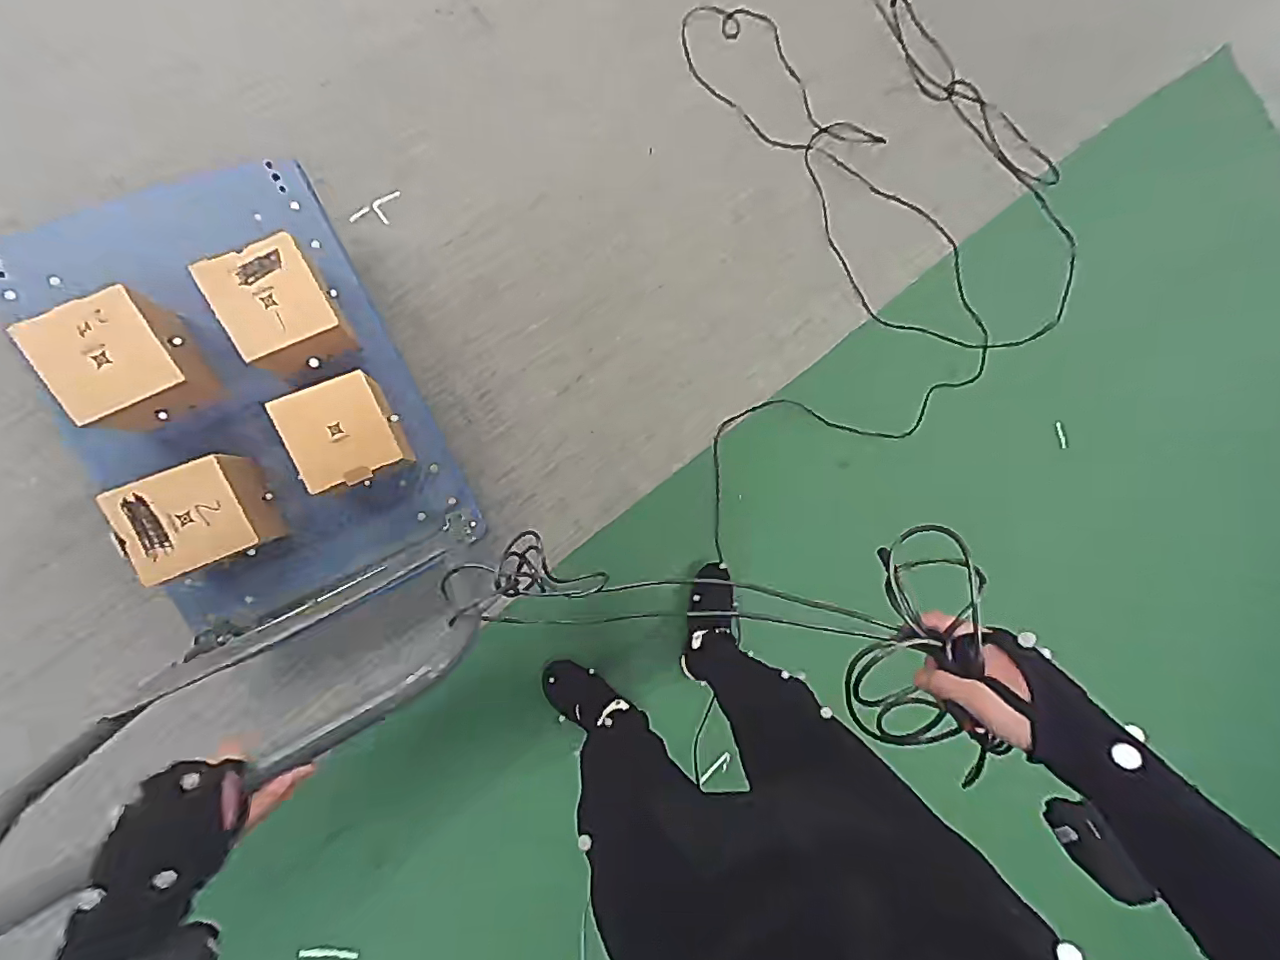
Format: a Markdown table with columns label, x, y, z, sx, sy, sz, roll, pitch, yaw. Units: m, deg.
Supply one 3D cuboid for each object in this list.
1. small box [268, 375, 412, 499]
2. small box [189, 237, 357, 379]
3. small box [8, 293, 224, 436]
| label | x | y | z | sx | sy | sz | roll | pitch | yaw |
| --- | --- | --- | --- | --- | --- | --- | --- | --- | --- |
| small box | -0.554 | -0.078 | 1.025 | 0.168 | 0.176 | 0.179 | -26 | 99 | -14 |
| small box | -0.653 | -0.304 | 0.987 | 0.168 | 0.176 | 0.179 | -30 | 100 | -13 |
| small box | -0.872 | -0.187 | 0.927 | 0.168 | 0.176 | 0.179 | -32 | 100 | -14 |
